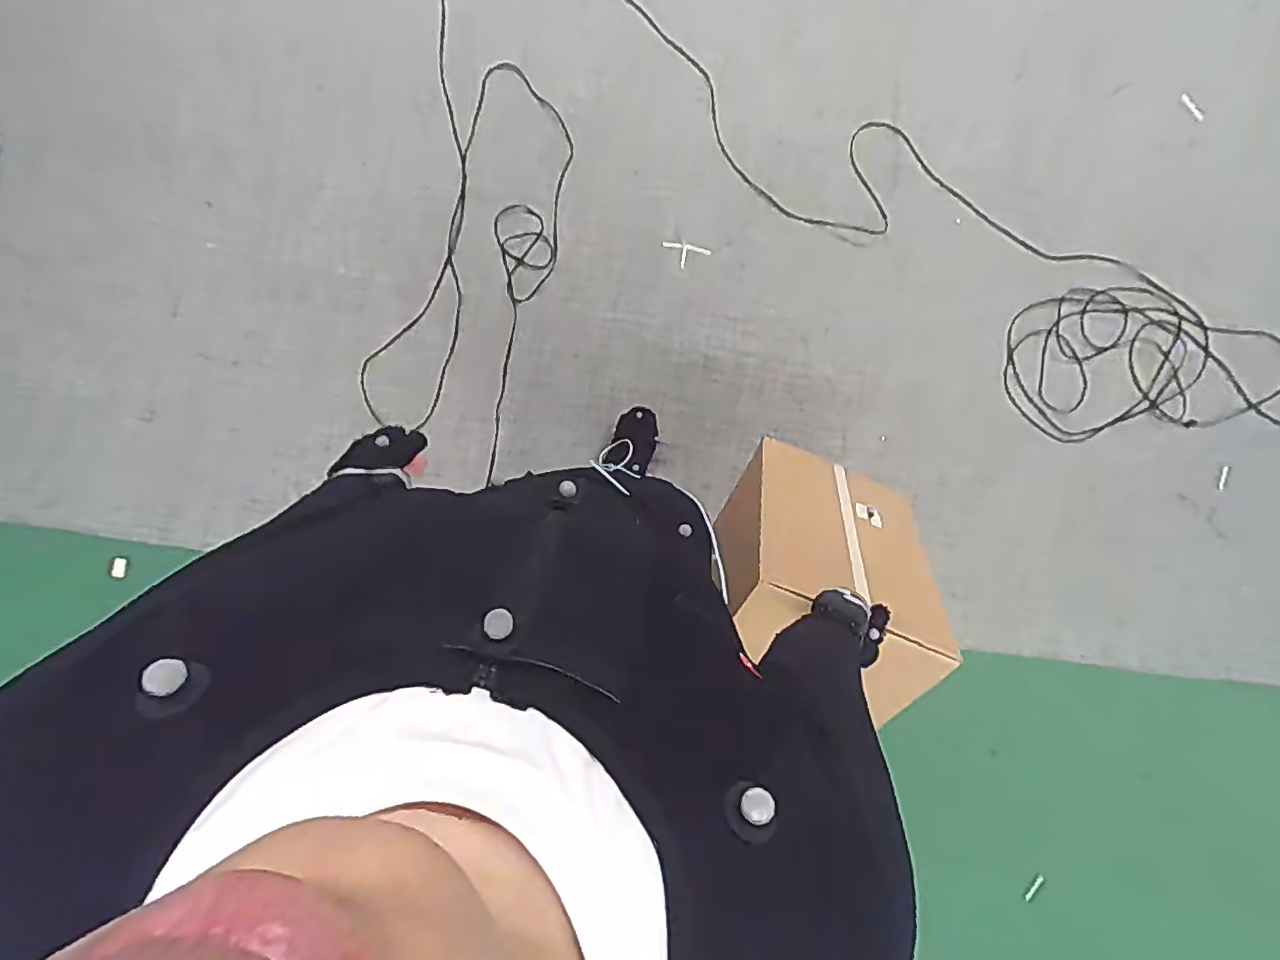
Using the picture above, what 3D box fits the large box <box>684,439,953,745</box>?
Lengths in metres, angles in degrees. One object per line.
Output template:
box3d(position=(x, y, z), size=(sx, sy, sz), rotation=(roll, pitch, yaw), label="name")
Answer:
box3d(position=(0.295, 0.195, 1.008), size=(0.320, 0.408, 0.320), rotation=(23, 126, -3), label="large box")
